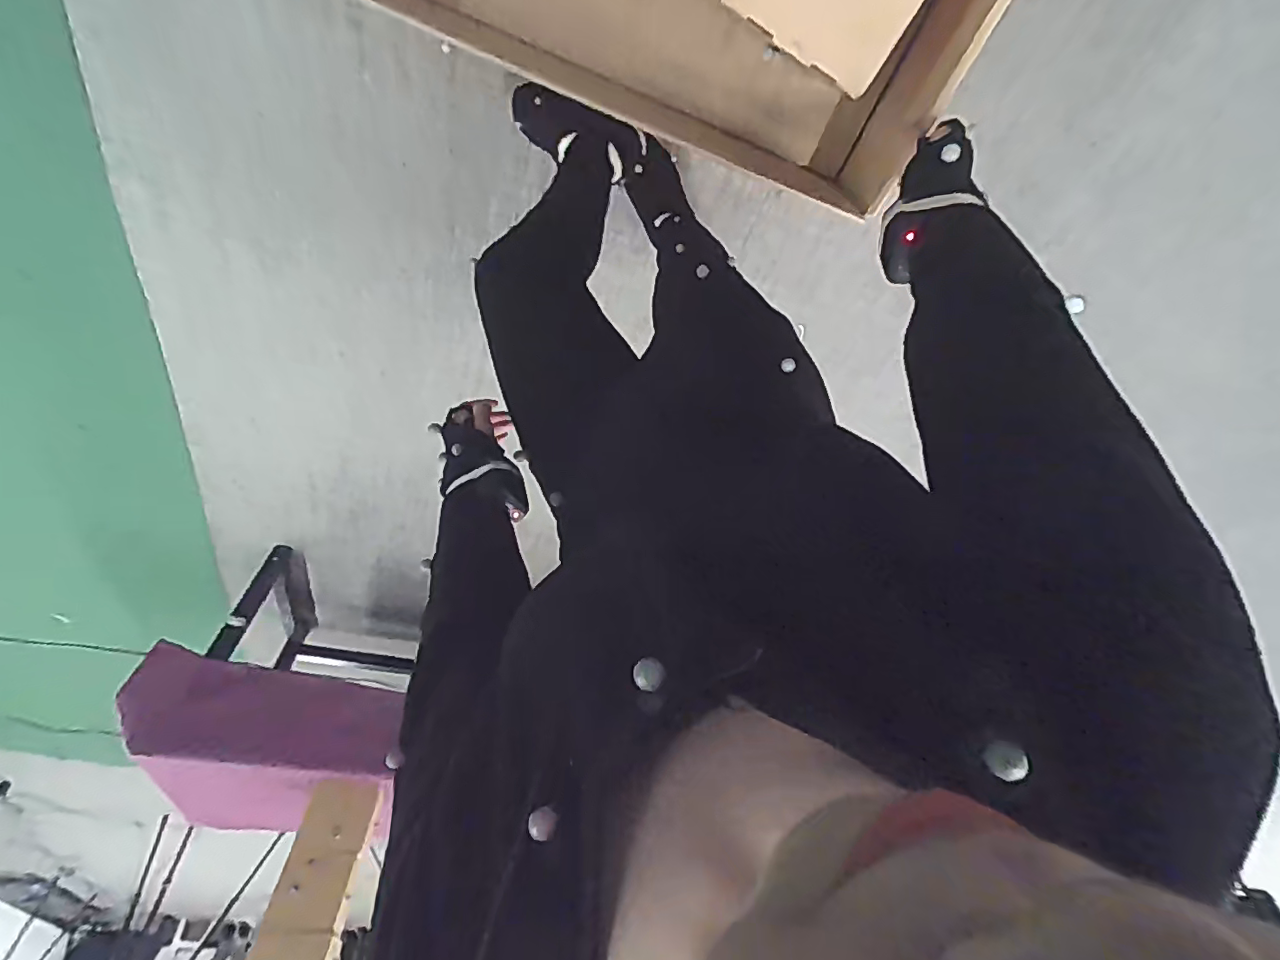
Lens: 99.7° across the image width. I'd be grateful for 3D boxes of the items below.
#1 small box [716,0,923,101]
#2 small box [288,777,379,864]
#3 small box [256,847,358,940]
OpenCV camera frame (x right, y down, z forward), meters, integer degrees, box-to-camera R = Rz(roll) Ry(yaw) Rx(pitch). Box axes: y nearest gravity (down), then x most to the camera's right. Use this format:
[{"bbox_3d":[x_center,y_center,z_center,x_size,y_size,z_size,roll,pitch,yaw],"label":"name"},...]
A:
[{"bbox_3d":[0.182,-0.512,0.517,0.168,0.176,0.179,20,130,-19],"label":"small box"},{"bbox_3d":[-0.847,0.952,1.513,0.179,0.176,0.168,14,131,-13],"label":"small box"},{"bbox_3d":[-0.849,1.067,1.397,0.168,0.176,0.179,13,132,-11],"label":"small box"}]
